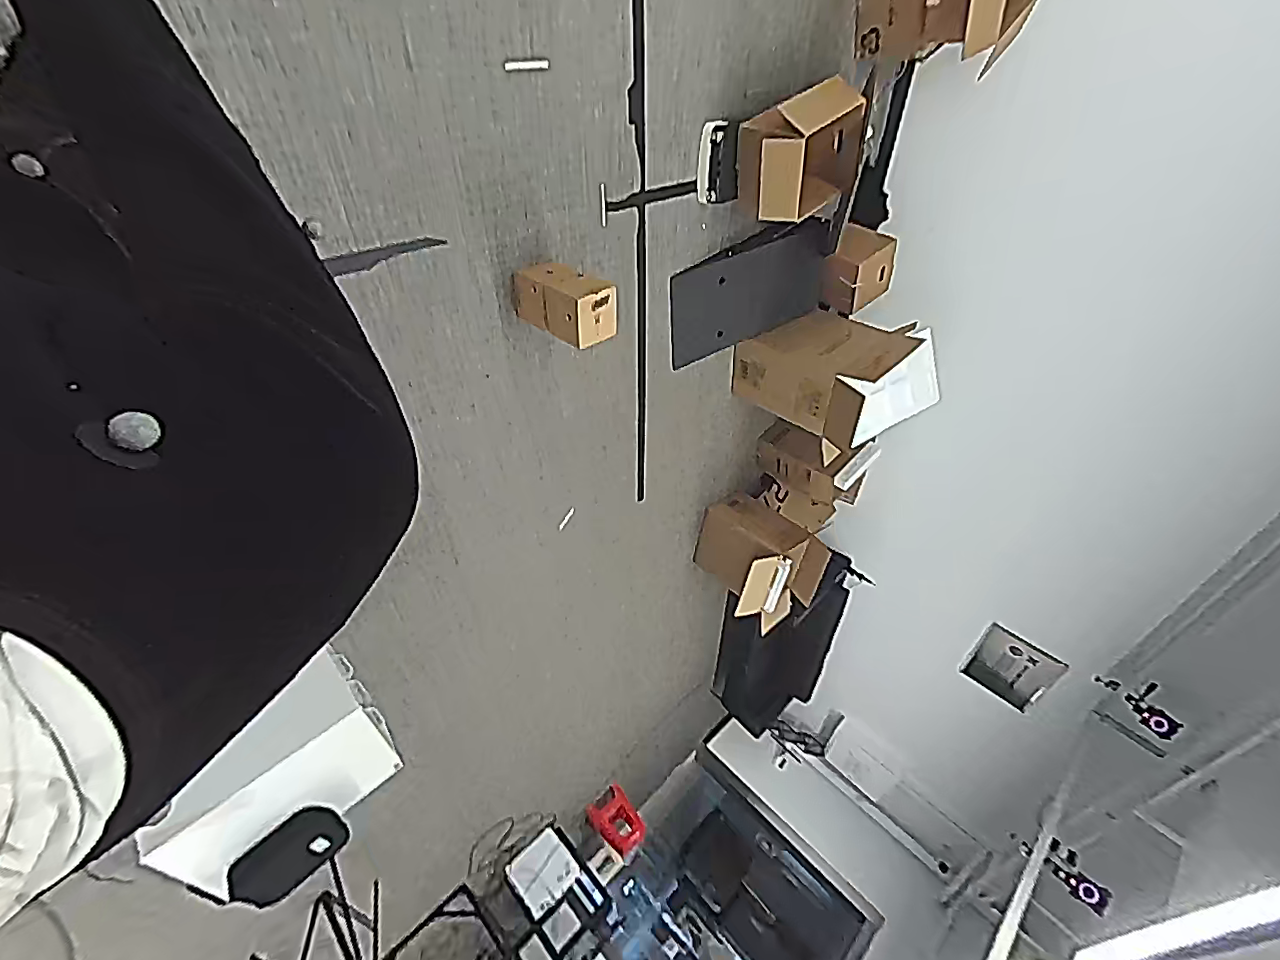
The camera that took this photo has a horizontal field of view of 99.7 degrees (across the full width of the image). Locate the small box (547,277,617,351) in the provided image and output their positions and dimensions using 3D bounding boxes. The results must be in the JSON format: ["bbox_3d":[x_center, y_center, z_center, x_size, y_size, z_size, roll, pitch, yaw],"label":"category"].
[{"bbox_3d":[-0.193,-0.558,1.796,0.168,0.176,0.179,-33,142,-32],"label":"small box"}]
